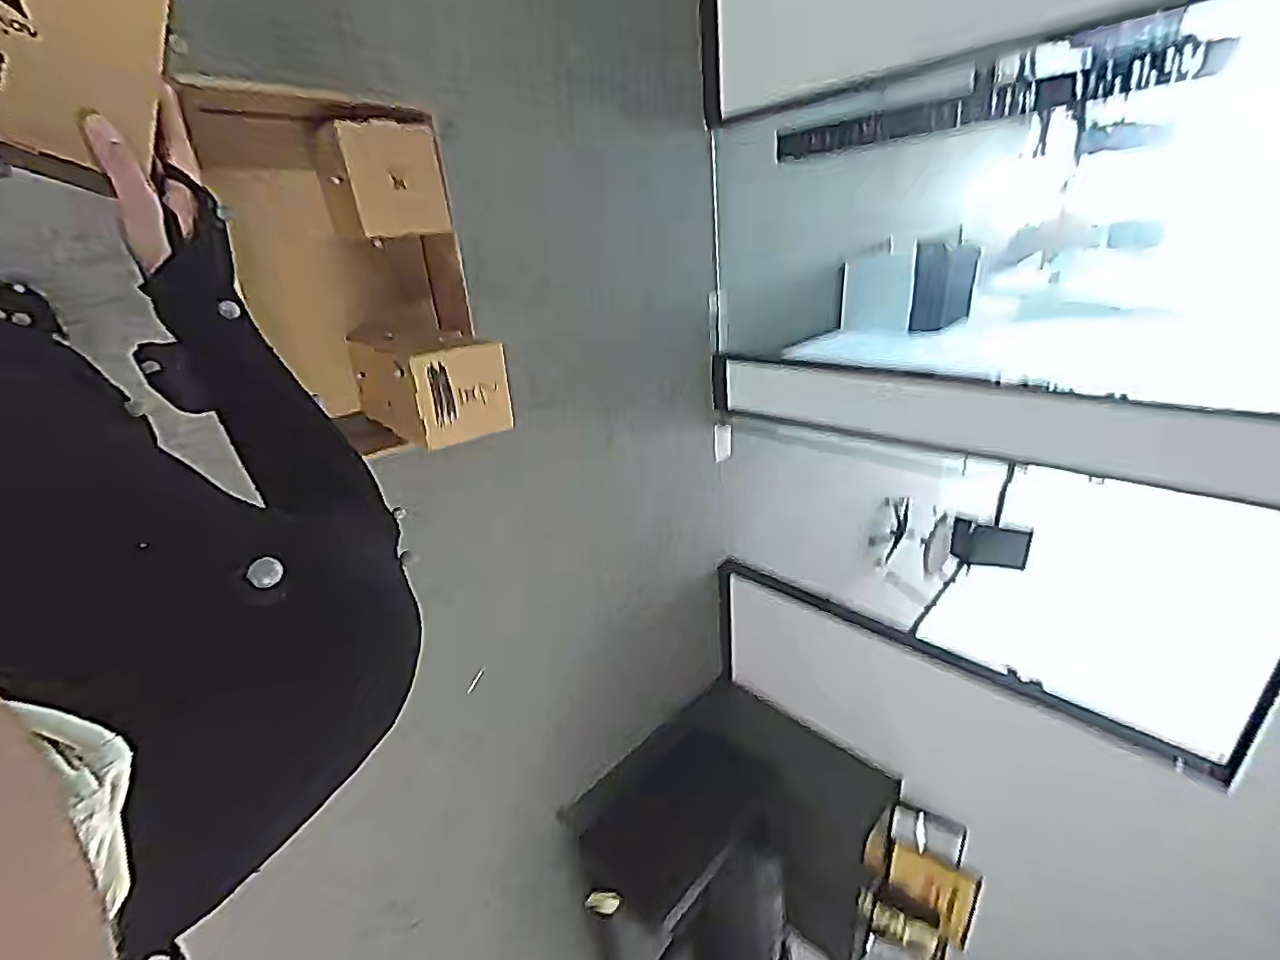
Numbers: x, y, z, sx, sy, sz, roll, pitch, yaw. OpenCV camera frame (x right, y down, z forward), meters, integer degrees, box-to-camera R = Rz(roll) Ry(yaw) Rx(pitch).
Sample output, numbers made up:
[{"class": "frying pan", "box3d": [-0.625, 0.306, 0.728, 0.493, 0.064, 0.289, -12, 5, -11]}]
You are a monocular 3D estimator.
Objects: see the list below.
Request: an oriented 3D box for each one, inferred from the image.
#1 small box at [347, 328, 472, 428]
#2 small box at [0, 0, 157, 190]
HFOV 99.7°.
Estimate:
[{"class": "small box", "box3d": [-0.480, -0.221, 1.132, 0.179, 0.176, 0.168, -22, 120, -38]}, {"class": "small box", "box3d": [-0.486, -0.343, 0.403, 0.168, 0.176, 0.179, 4, 104, -48]}]
